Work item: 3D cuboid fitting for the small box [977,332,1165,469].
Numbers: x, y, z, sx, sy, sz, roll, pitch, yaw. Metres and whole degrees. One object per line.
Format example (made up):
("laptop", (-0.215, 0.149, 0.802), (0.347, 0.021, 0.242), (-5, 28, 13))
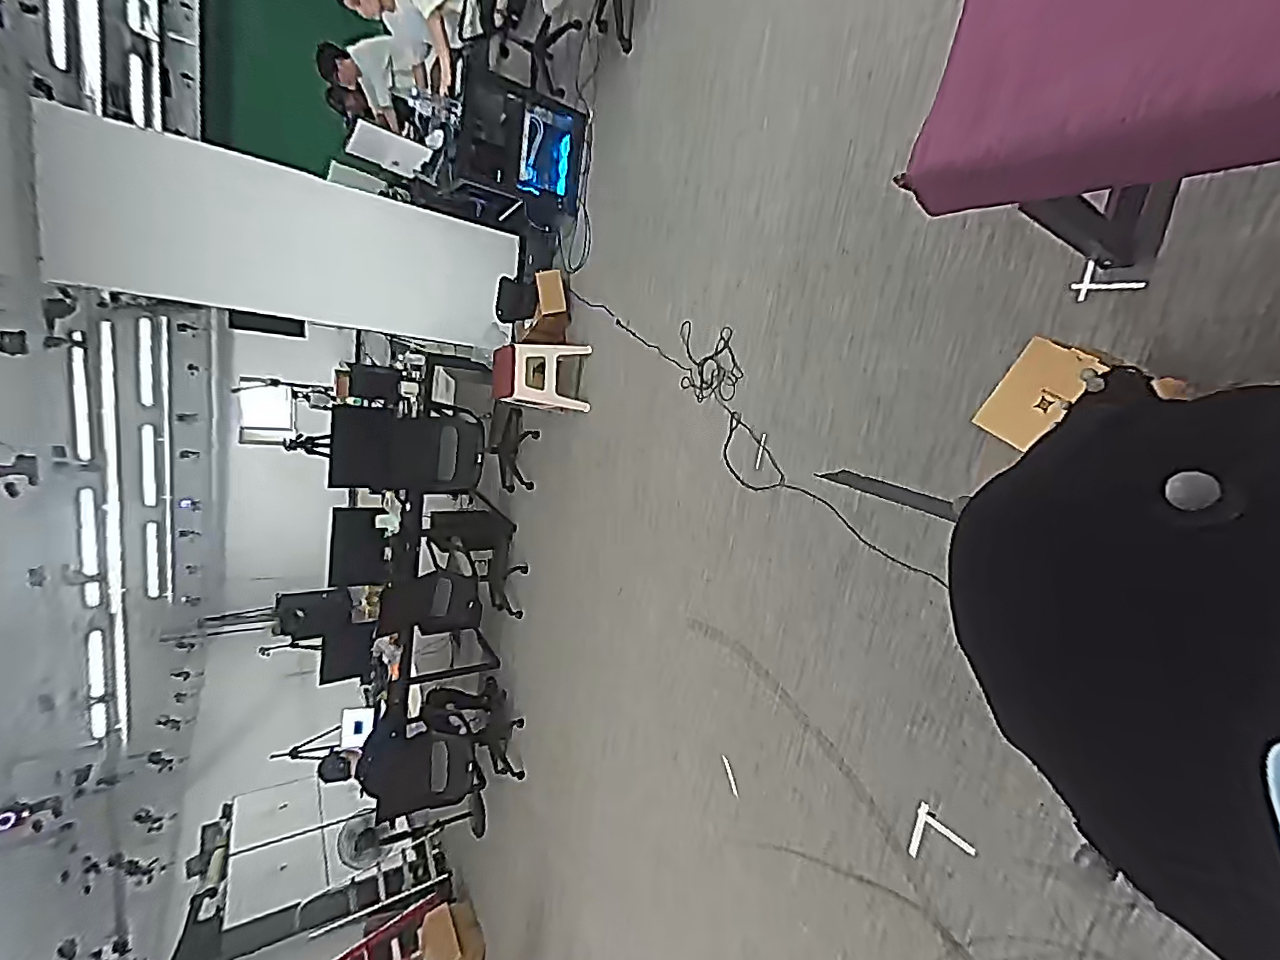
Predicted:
("small box", (0.747, -0.133, 0.938), (0.168, 0.176, 0.179), (52, 130, 42))

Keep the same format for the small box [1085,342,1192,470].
("small box", (0.884, -0.137, 1.027), (0.168, 0.176, 0.179), (59, 136, 37))
